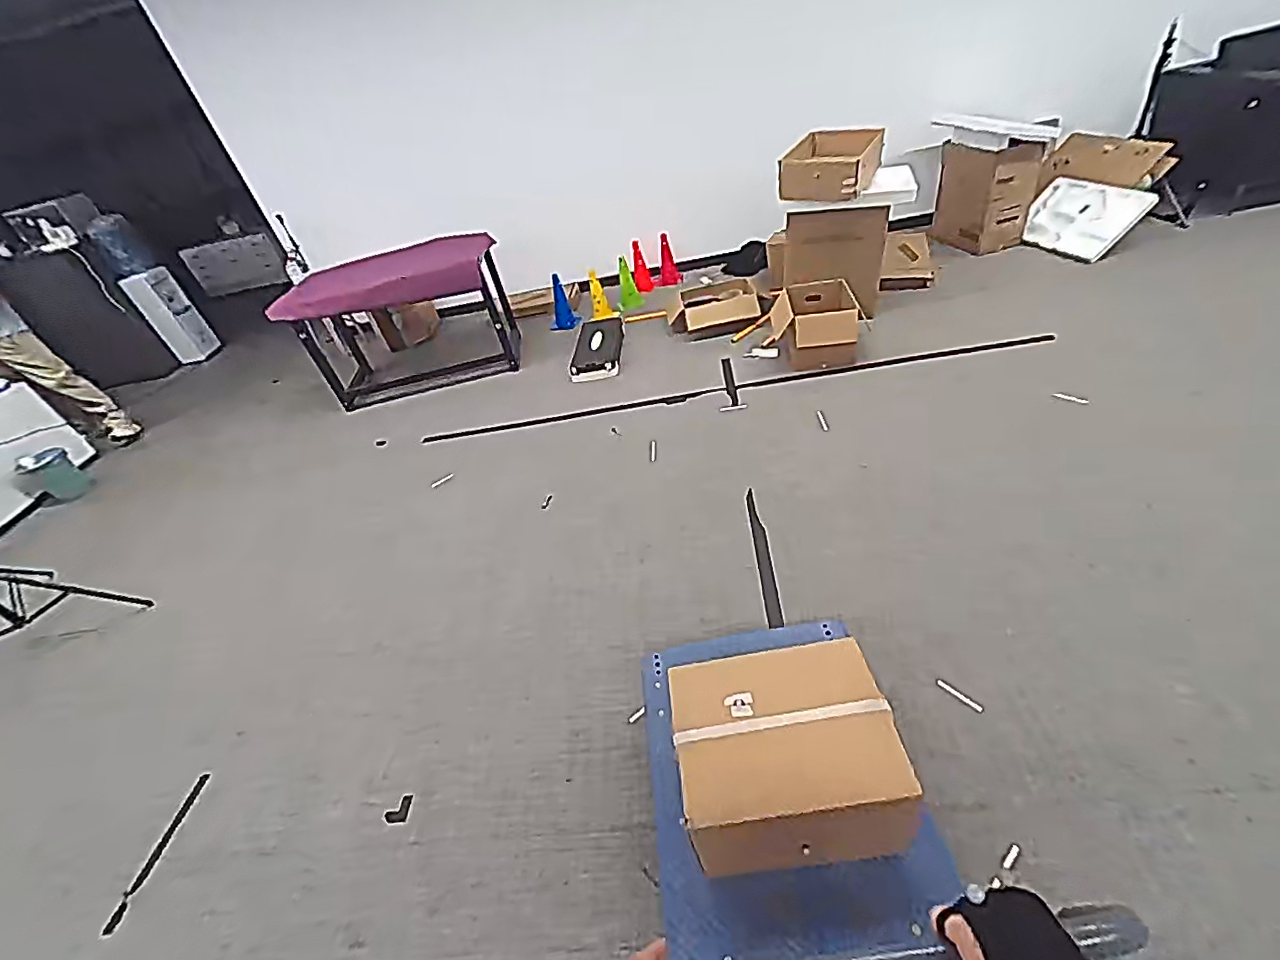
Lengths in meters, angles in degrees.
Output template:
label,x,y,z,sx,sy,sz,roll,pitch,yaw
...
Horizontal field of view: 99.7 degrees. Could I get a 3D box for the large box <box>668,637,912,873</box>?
label,x,y,z,sx,sy,sz,roll,pitch,yaw
large box,0.298,0.586,1.150,0.408,0.320,0.320,-12,38,4
